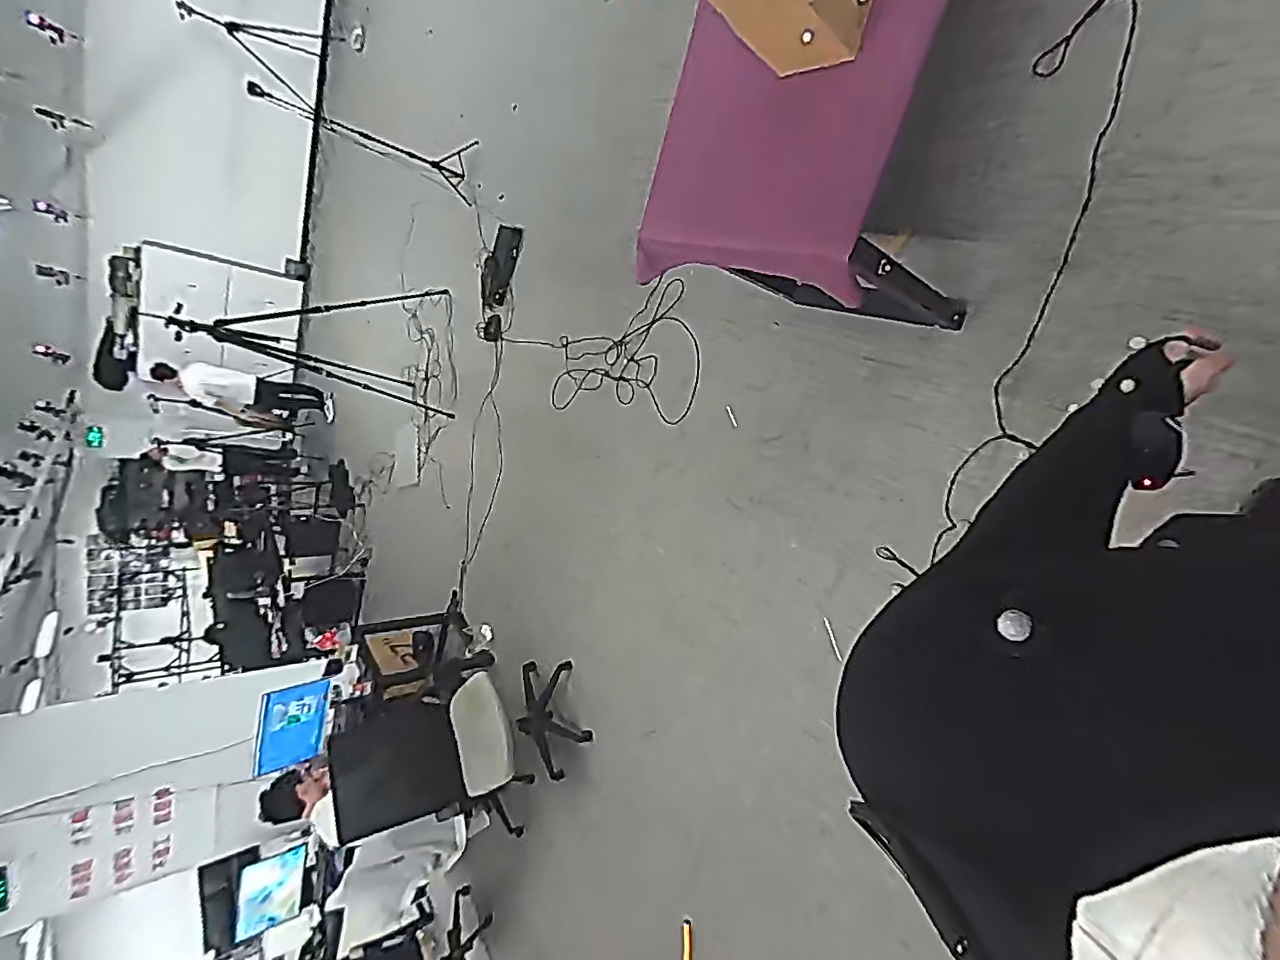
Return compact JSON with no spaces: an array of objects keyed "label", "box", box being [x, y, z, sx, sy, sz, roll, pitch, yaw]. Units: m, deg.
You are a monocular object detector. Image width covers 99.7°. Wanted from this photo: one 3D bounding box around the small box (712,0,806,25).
[{"label":"small box","box":[0.198,-0.886,0.868,0.179,0.176,0.168,28,109,45]}]
